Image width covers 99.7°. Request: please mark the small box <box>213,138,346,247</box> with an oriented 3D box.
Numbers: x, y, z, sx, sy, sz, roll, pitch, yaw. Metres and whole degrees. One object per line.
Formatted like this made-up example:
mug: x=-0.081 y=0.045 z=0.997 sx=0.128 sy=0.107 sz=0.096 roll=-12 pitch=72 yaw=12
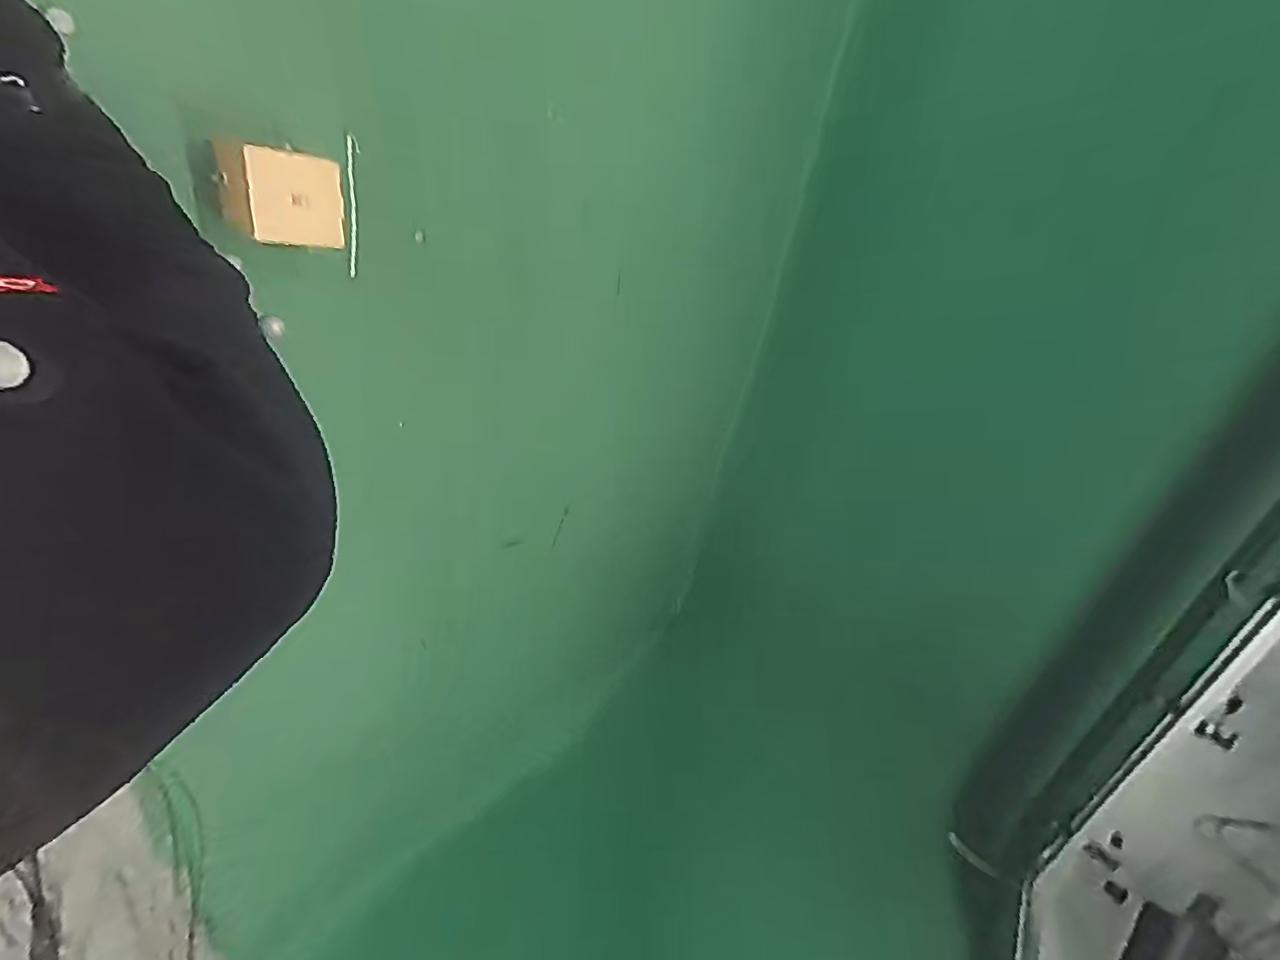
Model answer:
small box: x=-0.734 y=-0.588 z=1.111 sx=0.179 sy=0.176 sz=0.168 roll=-20 pitch=128 yaw=-50
